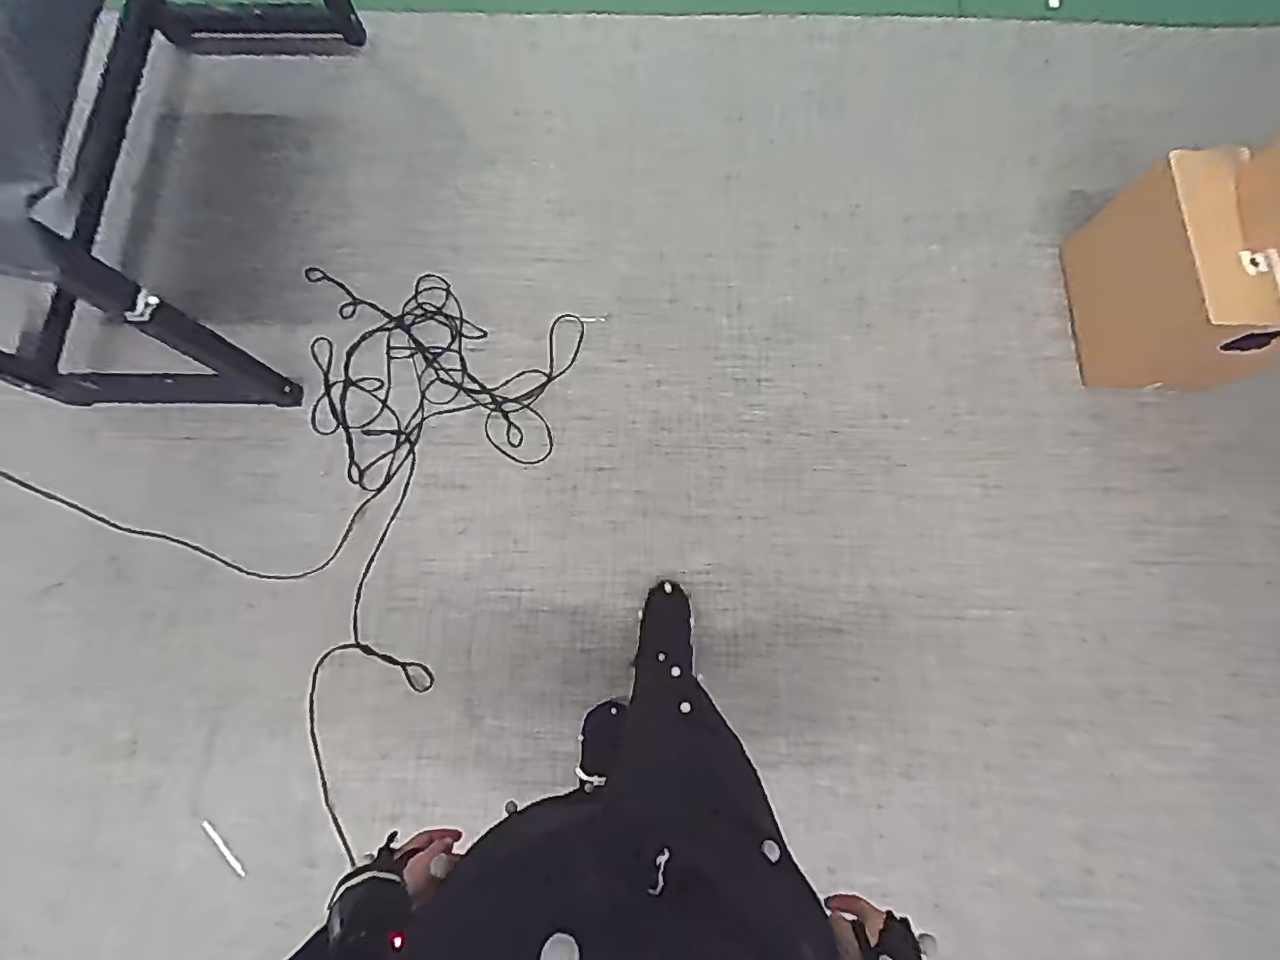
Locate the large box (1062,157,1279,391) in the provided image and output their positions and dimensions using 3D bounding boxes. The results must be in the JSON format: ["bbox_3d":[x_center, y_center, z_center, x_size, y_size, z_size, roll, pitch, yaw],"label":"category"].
[{"bbox_3d":[1.250,-0.445,1.227,0.320,0.320,0.408,0,78,1],"label":"large box"}]
